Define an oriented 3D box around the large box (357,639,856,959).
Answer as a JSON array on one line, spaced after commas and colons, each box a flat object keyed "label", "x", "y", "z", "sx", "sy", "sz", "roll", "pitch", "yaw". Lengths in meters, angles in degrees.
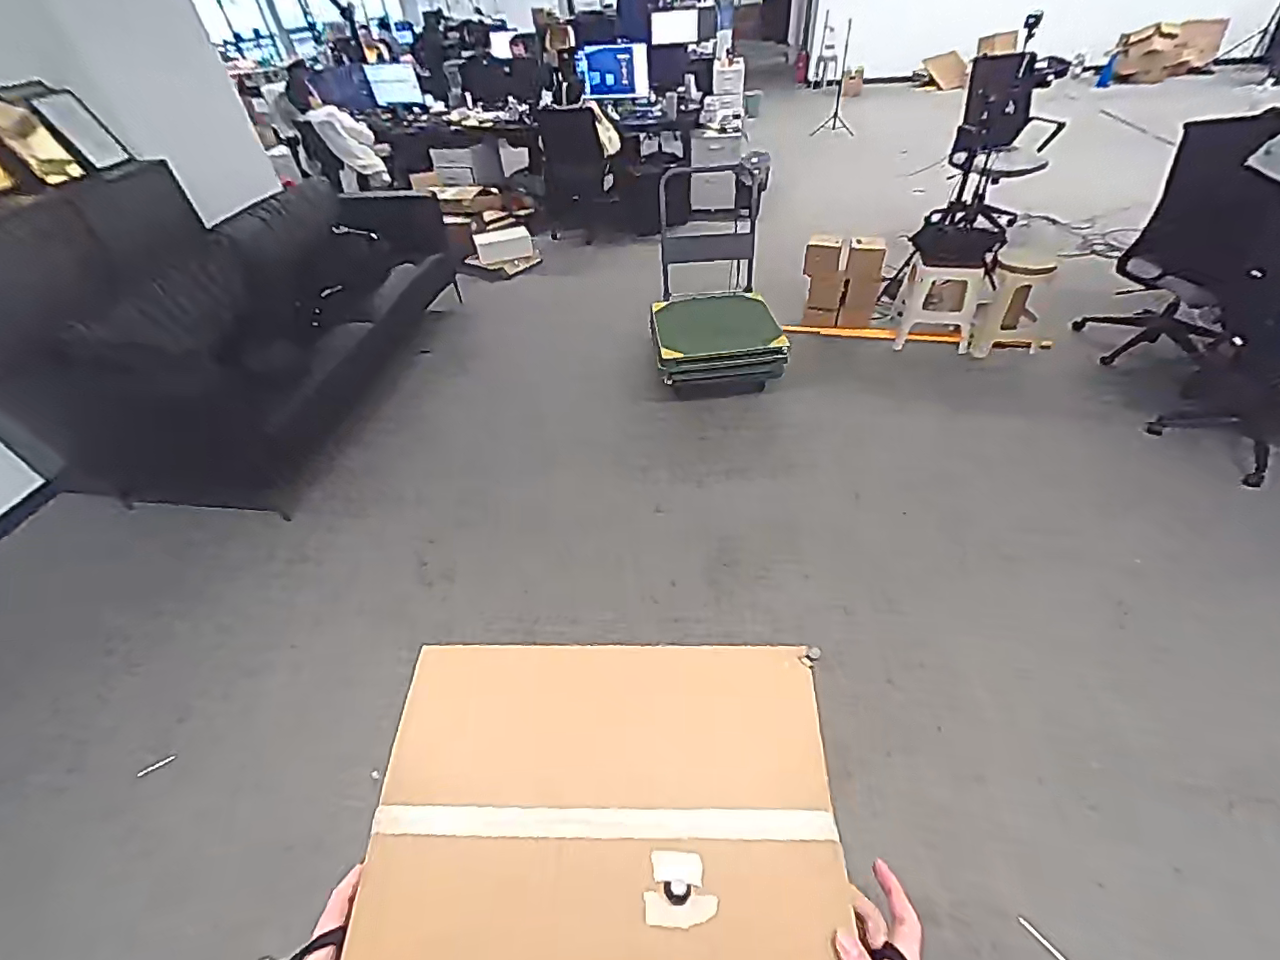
[{"label": "large box", "x": -0.025, "y": 0.385, "z": 0.607, "sx": 0.408, "sy": 0.320, "sz": 0.320, "roll": -1, "pitch": 54, "yaw": 2}]
